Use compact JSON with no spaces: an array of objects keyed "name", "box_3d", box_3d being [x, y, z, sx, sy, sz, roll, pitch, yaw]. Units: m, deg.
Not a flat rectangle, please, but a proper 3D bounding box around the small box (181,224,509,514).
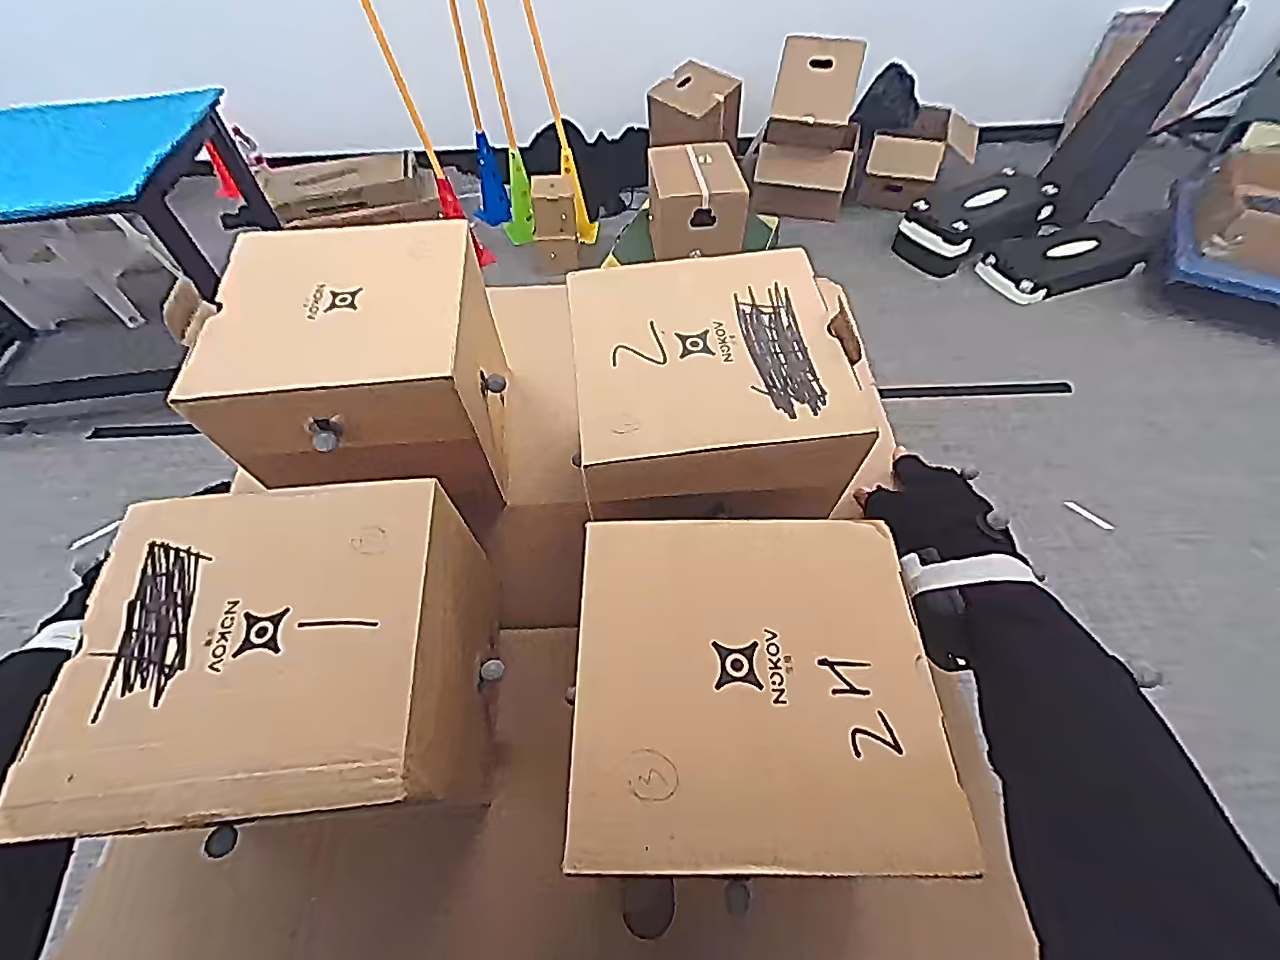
[{"name":"small box","box_3d":[-0.213,-0.085,0.455,0.179,0.176,0.168,-5,58,-2]}]
